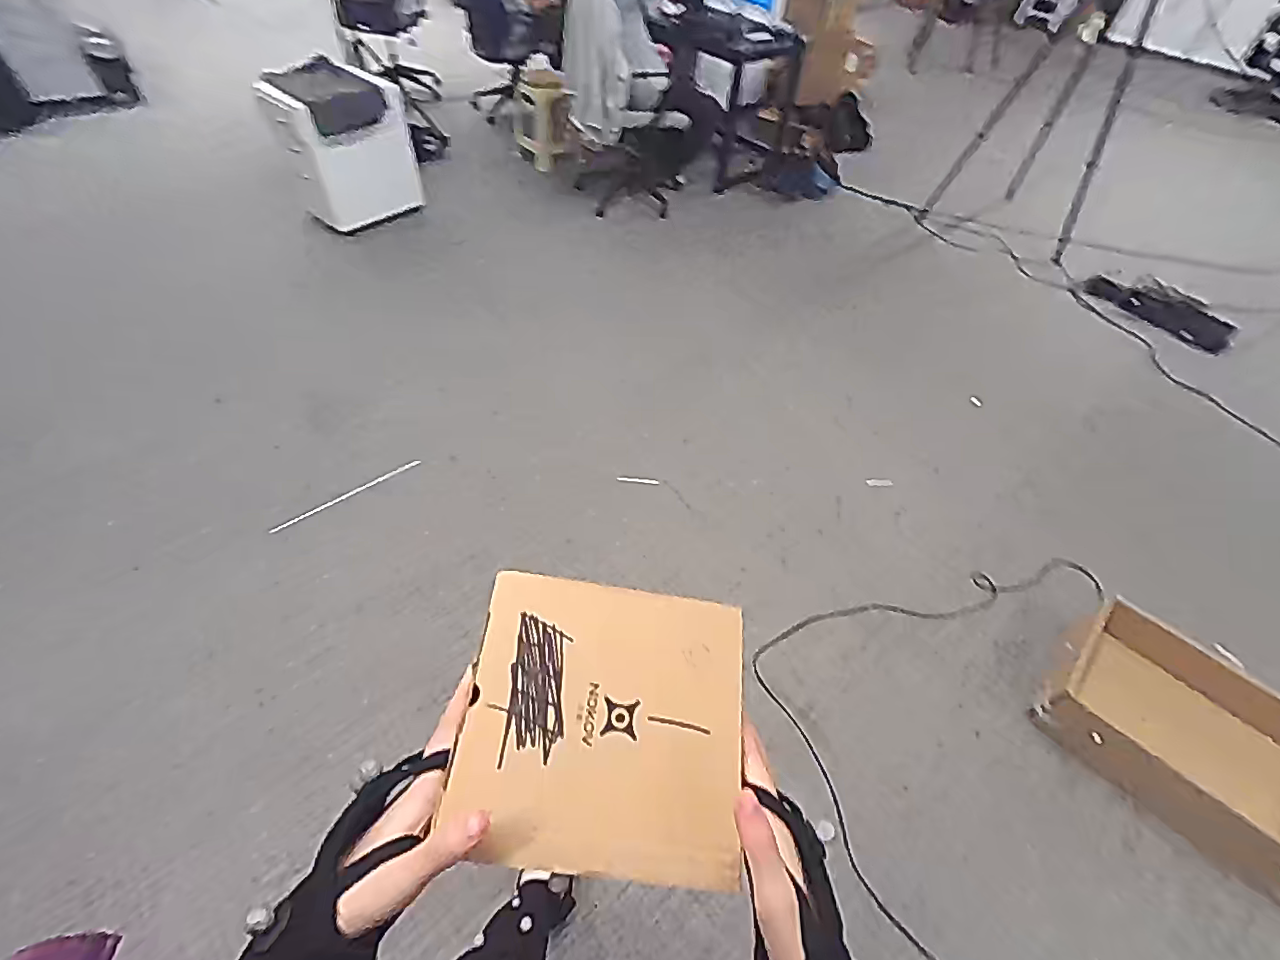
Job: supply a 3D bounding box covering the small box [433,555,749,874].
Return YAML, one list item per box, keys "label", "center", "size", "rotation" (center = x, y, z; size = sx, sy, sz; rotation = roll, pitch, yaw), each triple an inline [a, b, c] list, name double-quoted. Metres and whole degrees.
- label: "small box"
  center: [-0.031, 0.176, 0.404]
  size: [0.179, 0.176, 0.168]
  rotation: [12, 58, -6]
